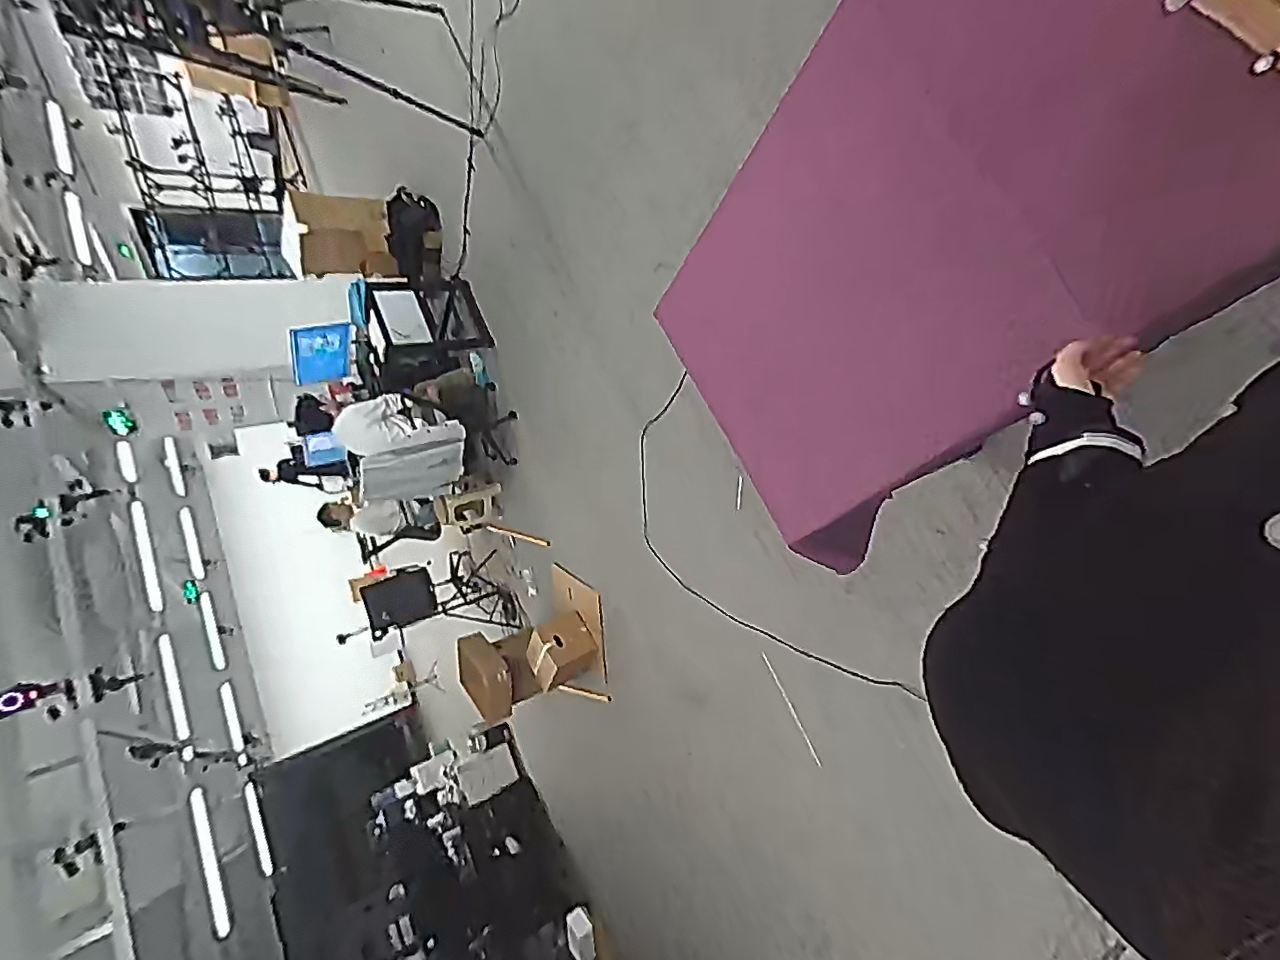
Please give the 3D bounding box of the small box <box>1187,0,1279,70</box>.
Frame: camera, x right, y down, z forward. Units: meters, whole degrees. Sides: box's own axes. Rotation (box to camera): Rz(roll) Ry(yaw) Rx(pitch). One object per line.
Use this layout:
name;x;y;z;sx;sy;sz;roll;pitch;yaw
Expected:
small box;0.528;-0.416;0.385;0.179;0.176;0.168;61;144;18
